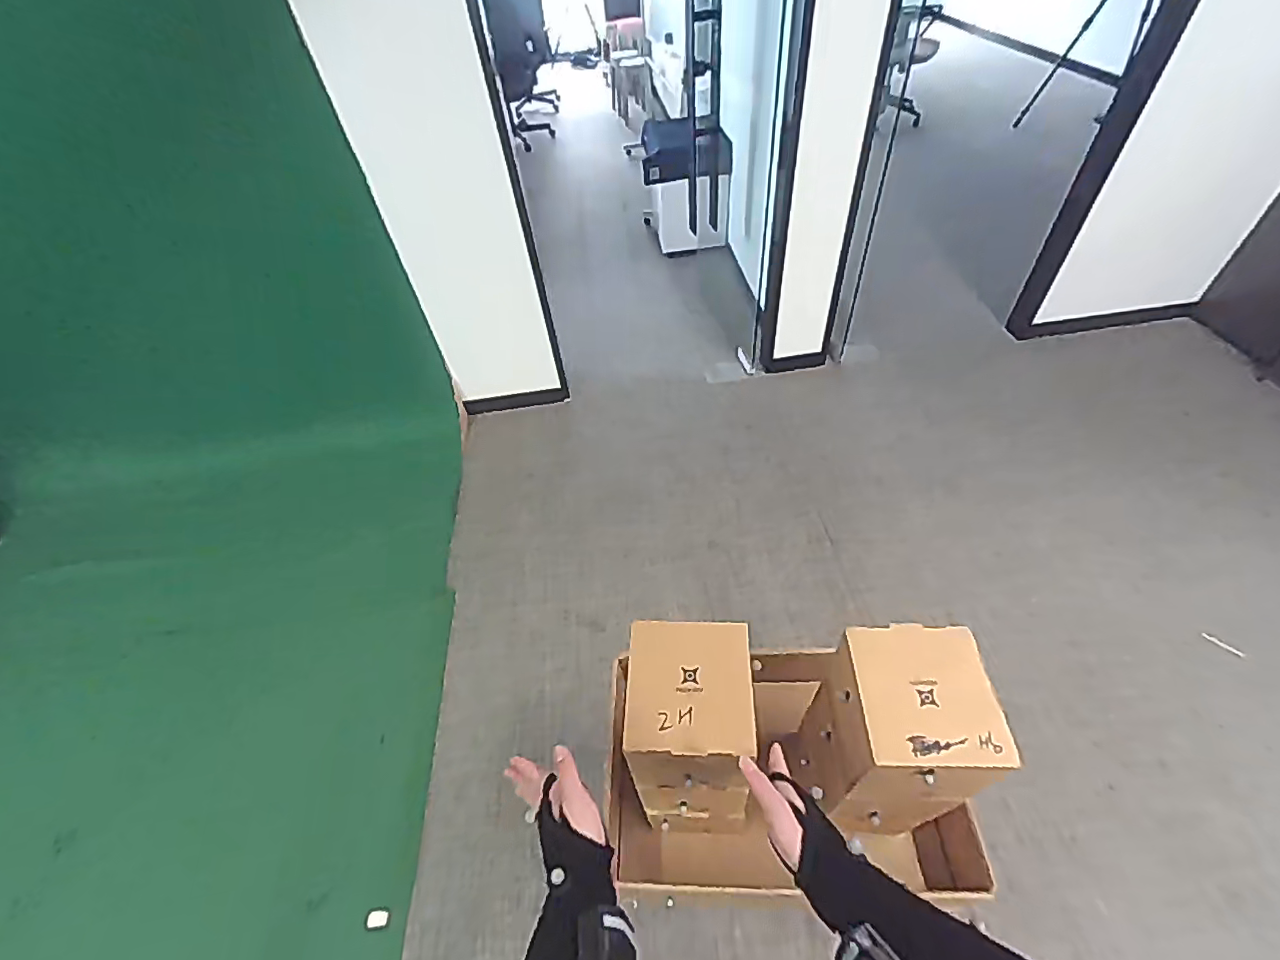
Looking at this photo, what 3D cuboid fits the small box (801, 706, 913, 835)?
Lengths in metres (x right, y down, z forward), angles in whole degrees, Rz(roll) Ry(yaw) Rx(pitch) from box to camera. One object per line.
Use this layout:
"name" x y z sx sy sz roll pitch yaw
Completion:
"small box" 0.395 0.531 0.983 0.168 0.176 0.179 0 48 6

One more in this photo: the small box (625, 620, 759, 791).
"small box" 0.075 0.320 0.769 0.168 0.176 0.179 0 49 7

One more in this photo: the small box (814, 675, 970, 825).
"small box" 0.381 0.427 0.858 0.168 0.176 0.179 -1 49 6

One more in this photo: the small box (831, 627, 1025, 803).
"small box" 0.368 0.319 0.736 0.168 0.176 0.179 -2 49 6

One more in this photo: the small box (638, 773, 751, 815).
"small box" 0.089 0.431 0.890 0.168 0.176 0.179 -1 49 6
